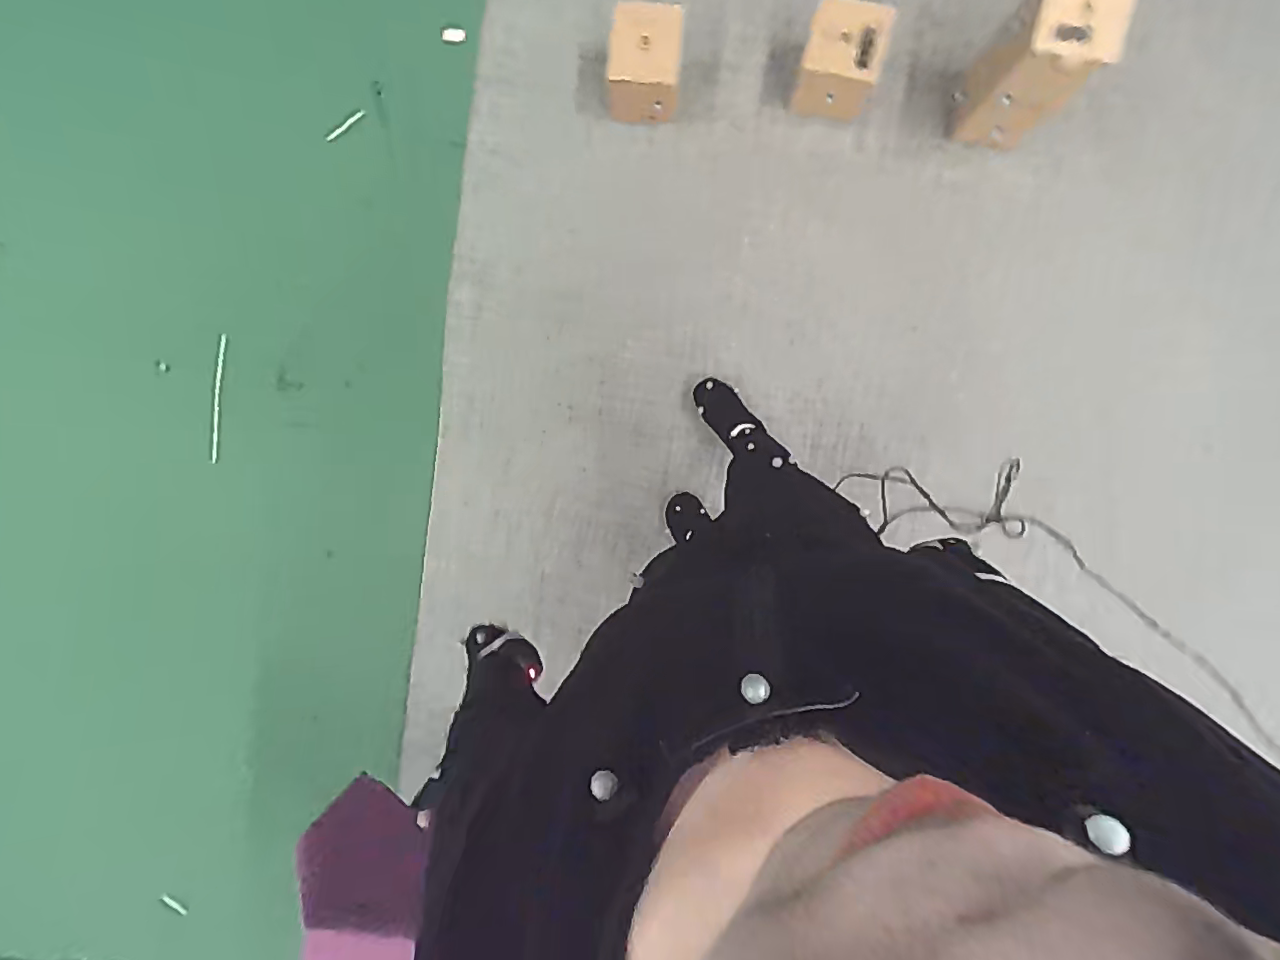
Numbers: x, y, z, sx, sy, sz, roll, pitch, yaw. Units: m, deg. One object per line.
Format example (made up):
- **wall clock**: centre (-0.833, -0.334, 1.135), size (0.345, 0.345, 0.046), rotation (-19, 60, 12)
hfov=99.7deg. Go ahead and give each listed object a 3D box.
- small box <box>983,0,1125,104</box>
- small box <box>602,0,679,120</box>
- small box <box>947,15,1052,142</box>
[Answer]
- **small box**: centre (0.844, -0.917, 1.111), size (0.168, 0.176, 0.179), rotation (12, 94, 3)
- **small box**: centre (0.006, -1.022, 1.327), size (0.168, 0.176, 0.179), rotation (6, 94, 2)
- **small box**: centre (0.857, -0.935, 1.275), size (0.168, 0.176, 0.179), rotation (10, 96, 3)
